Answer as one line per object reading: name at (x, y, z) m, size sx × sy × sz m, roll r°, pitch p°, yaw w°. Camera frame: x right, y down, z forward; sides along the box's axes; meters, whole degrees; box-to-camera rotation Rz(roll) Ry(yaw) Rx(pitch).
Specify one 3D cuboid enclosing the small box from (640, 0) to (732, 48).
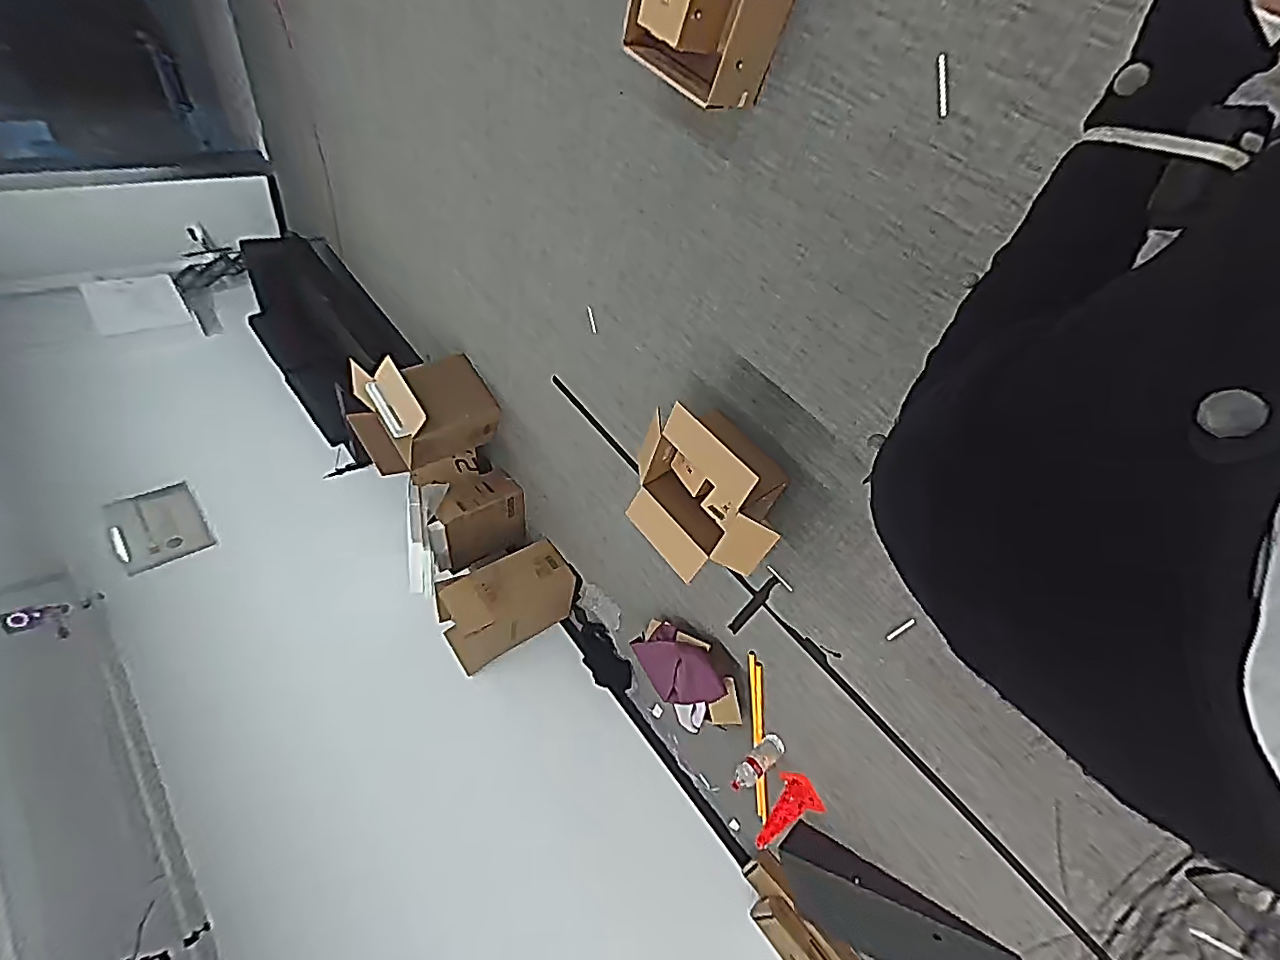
small box at (0.131, -1.291, 1.442) m, size 0.168 × 0.176 × 0.179 m, roll 48°, pitch 142°, yaw 17°
